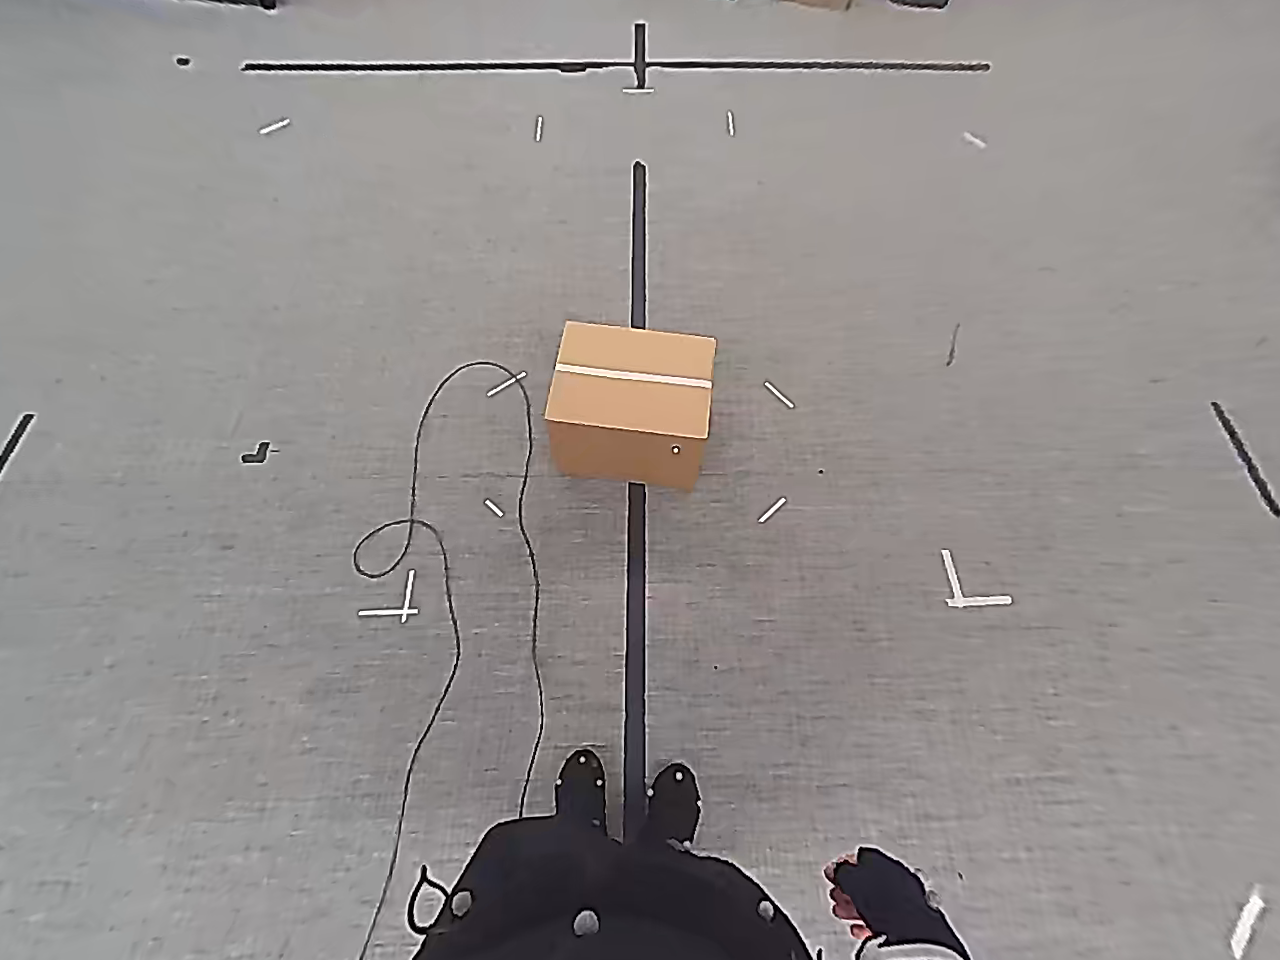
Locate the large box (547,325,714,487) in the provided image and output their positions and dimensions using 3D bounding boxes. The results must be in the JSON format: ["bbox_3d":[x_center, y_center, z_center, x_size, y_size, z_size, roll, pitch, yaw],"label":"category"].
[{"bbox_3d":[-0.018,-0.194,1.508,0.408,0.320,0.320,7,65,1],"label":"large box"}]
